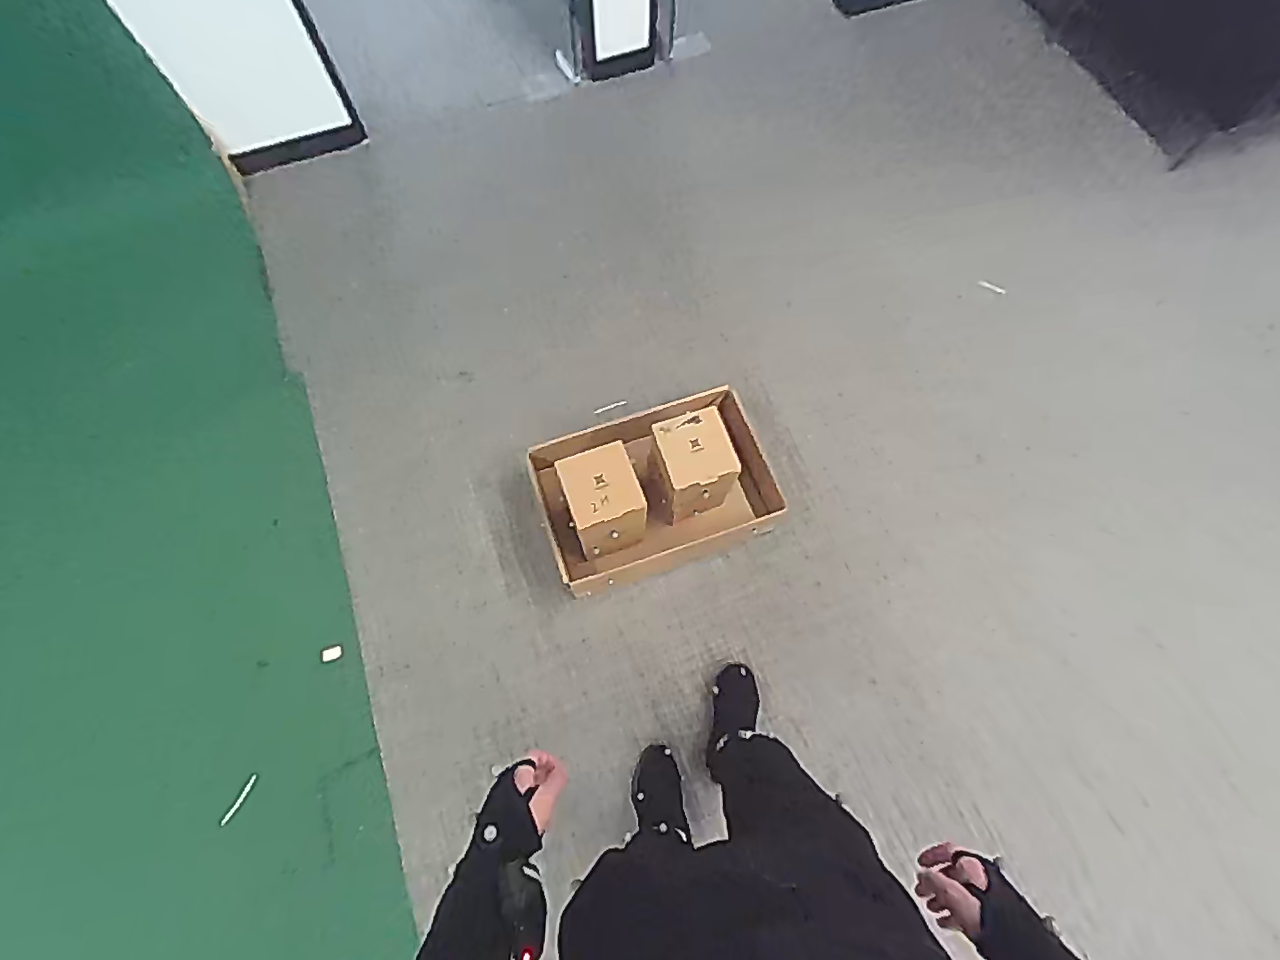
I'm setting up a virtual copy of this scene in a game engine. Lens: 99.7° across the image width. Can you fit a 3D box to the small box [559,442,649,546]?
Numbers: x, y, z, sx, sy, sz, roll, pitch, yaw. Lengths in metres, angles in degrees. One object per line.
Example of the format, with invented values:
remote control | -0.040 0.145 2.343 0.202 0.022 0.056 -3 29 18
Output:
small box | -0.086 0.038 1.296 0.168 0.176 0.179 -18 71 -8
